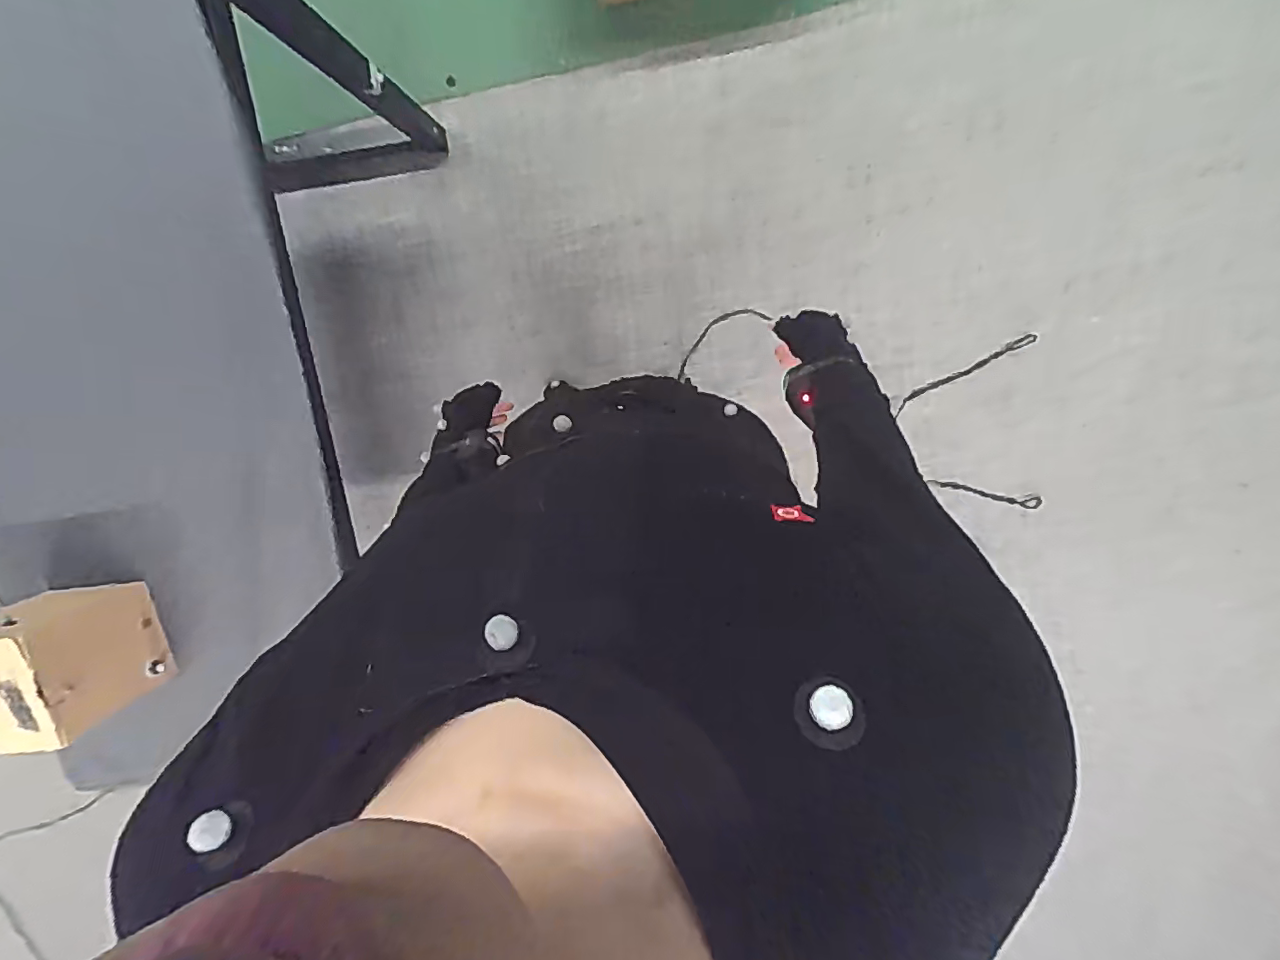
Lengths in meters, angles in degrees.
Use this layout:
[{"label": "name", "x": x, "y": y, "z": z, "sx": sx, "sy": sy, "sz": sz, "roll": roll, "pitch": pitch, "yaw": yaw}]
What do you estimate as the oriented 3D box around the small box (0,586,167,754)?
[{"label": "small box", "x": -0.837, "y": 0.263, "z": 0.776, "sx": 0.179, "sy": 0.176, "sz": 0.168, "roll": -7, "pitch": 103, "yaw": 7}]
